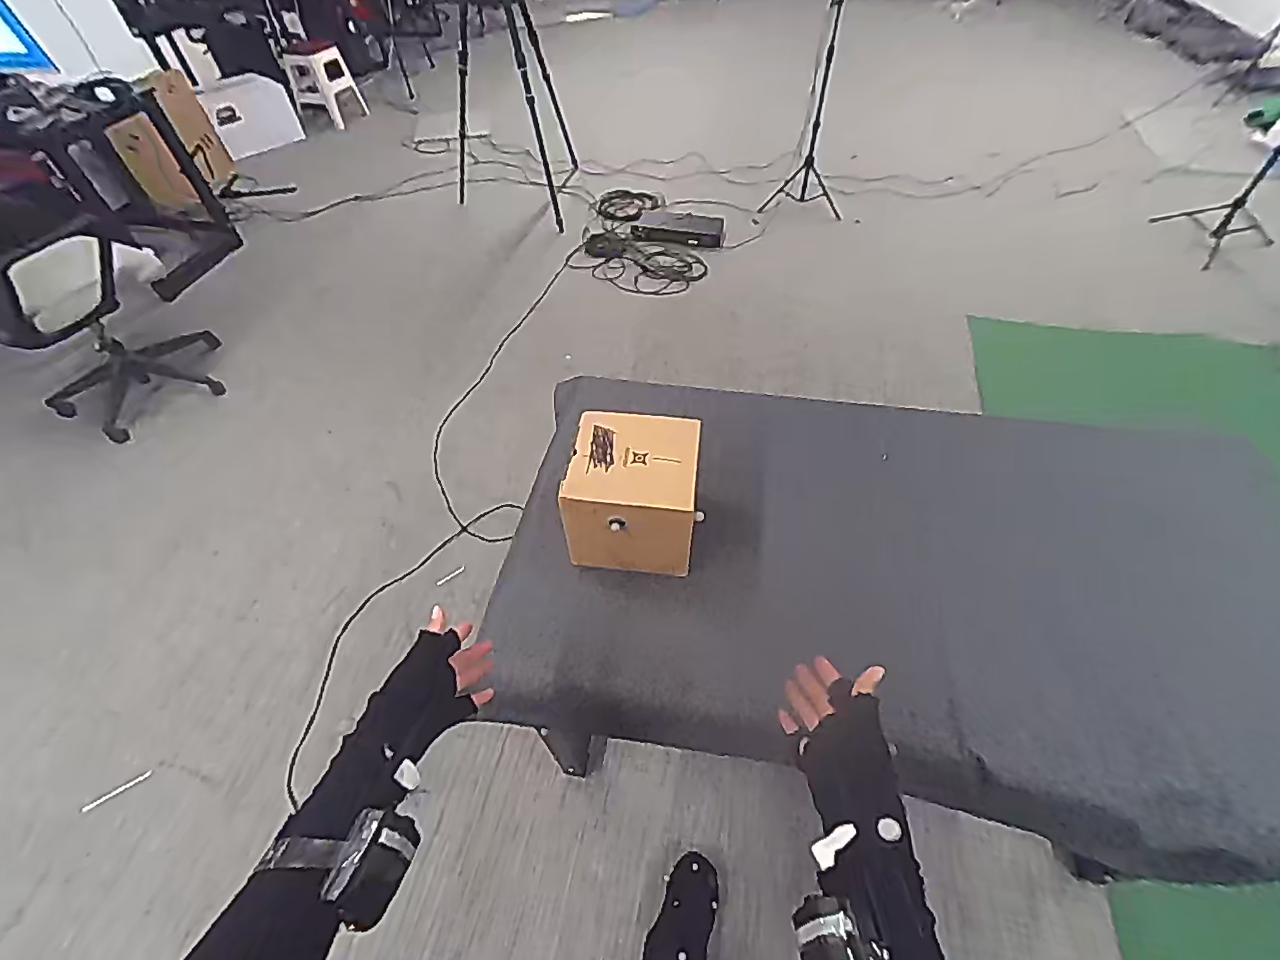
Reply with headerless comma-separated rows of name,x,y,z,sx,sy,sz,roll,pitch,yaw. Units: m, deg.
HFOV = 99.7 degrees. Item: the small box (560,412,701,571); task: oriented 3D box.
small box,-0.007,0.020,0.803,0.179,0.176,0.168,6,51,5
